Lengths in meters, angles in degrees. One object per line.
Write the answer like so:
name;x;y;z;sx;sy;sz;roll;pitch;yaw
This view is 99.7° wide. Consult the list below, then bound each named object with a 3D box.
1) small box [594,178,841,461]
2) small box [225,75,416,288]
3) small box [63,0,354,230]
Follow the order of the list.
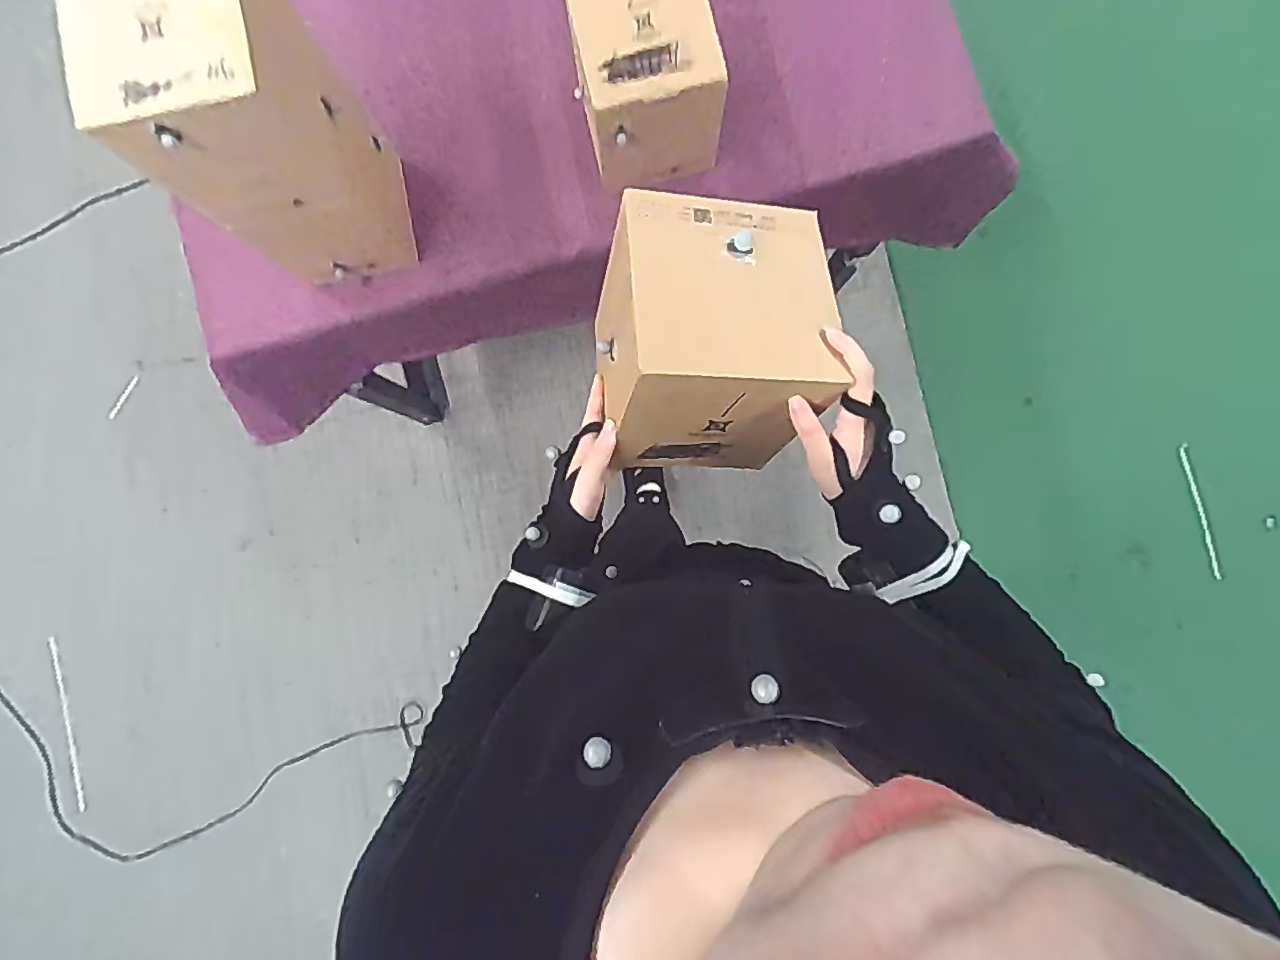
small box;0.050;-0.128;0.486;0.168;0.179;0.176;0;69;-13
small box;-0.426;-0.388;0.730;0.168;0.176;0.179;-11;87;1
small box;-0.431;-0.399;0.565;0.168;0.176;0.179;-11;85;2
